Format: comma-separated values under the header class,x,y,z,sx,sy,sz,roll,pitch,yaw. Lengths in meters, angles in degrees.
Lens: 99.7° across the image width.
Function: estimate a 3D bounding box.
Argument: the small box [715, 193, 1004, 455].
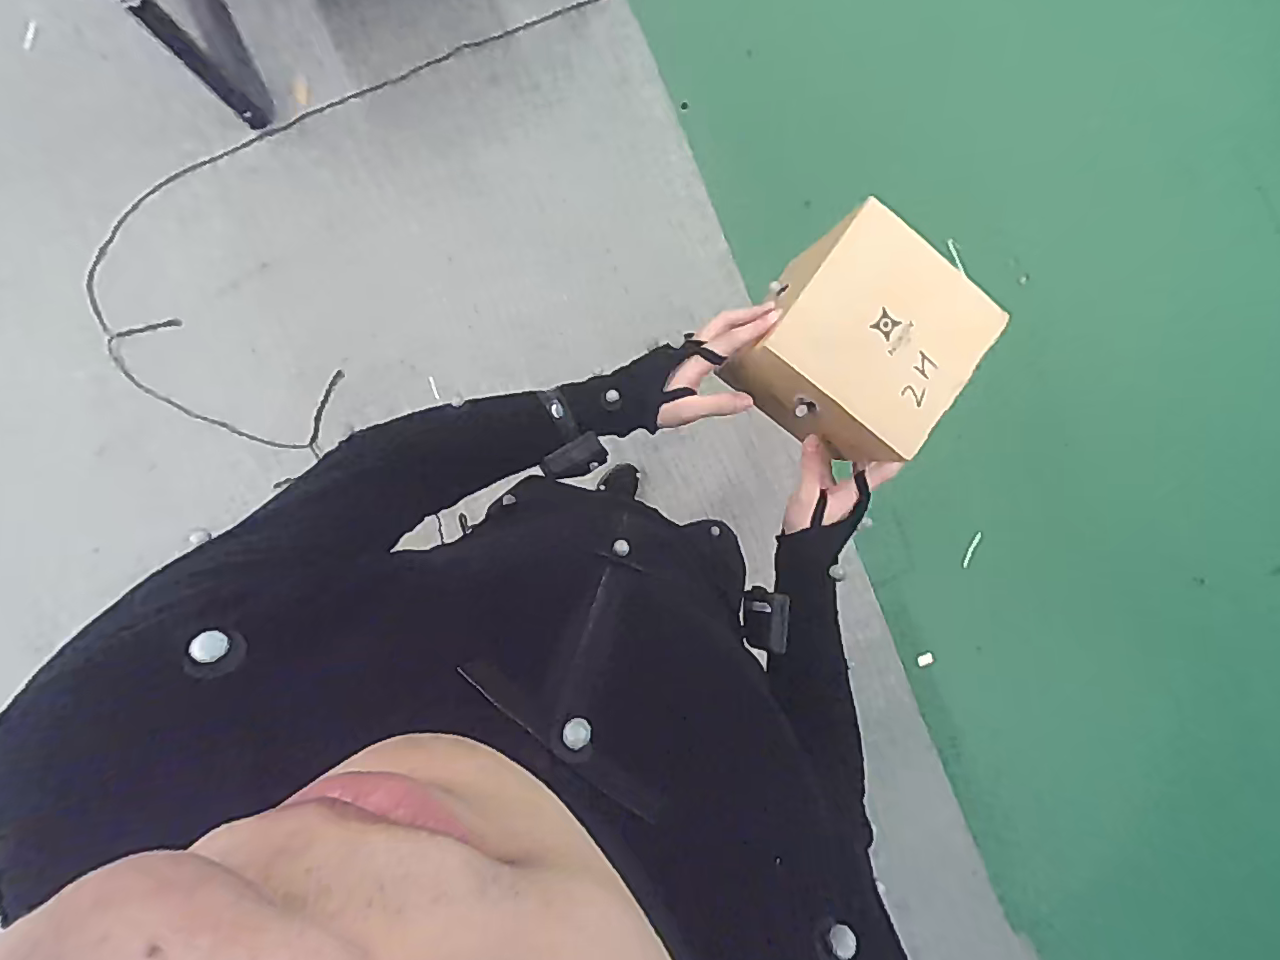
class,x,y,z,sx,sy,sz,roll,pitch,yaw
small box,0.201,-0.136,0.549,0.179,0.176,0.168,36,88,-8
